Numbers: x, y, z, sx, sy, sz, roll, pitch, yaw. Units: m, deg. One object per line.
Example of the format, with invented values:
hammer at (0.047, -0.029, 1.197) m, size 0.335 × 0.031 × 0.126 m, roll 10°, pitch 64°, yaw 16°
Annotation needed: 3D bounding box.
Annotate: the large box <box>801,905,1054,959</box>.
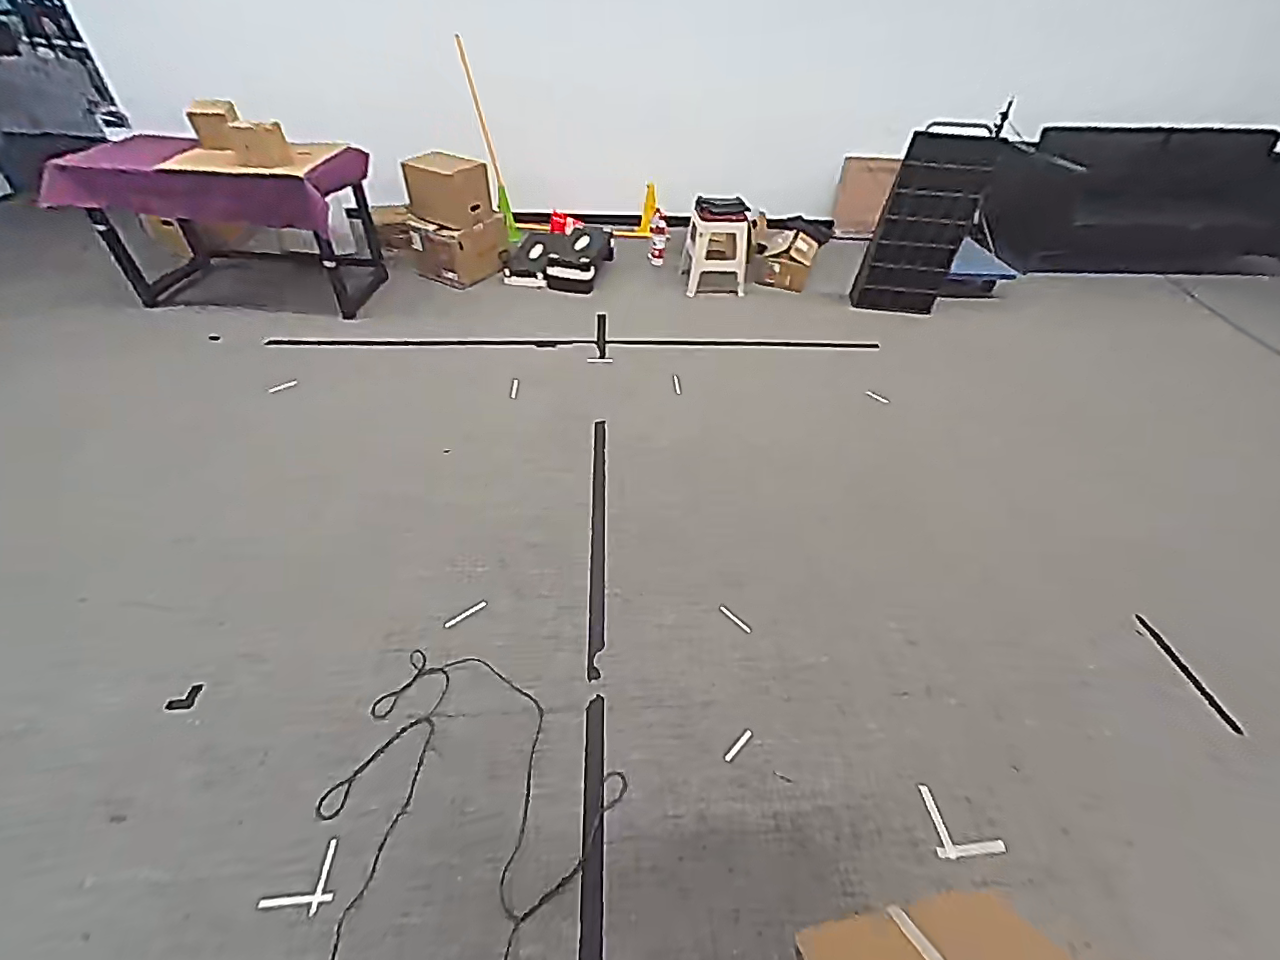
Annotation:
large box at (0.416, 0.779, 0.586) m, size 0.320 × 0.408 × 0.320 m, roll -7°, pitch 85°, yaw -6°
